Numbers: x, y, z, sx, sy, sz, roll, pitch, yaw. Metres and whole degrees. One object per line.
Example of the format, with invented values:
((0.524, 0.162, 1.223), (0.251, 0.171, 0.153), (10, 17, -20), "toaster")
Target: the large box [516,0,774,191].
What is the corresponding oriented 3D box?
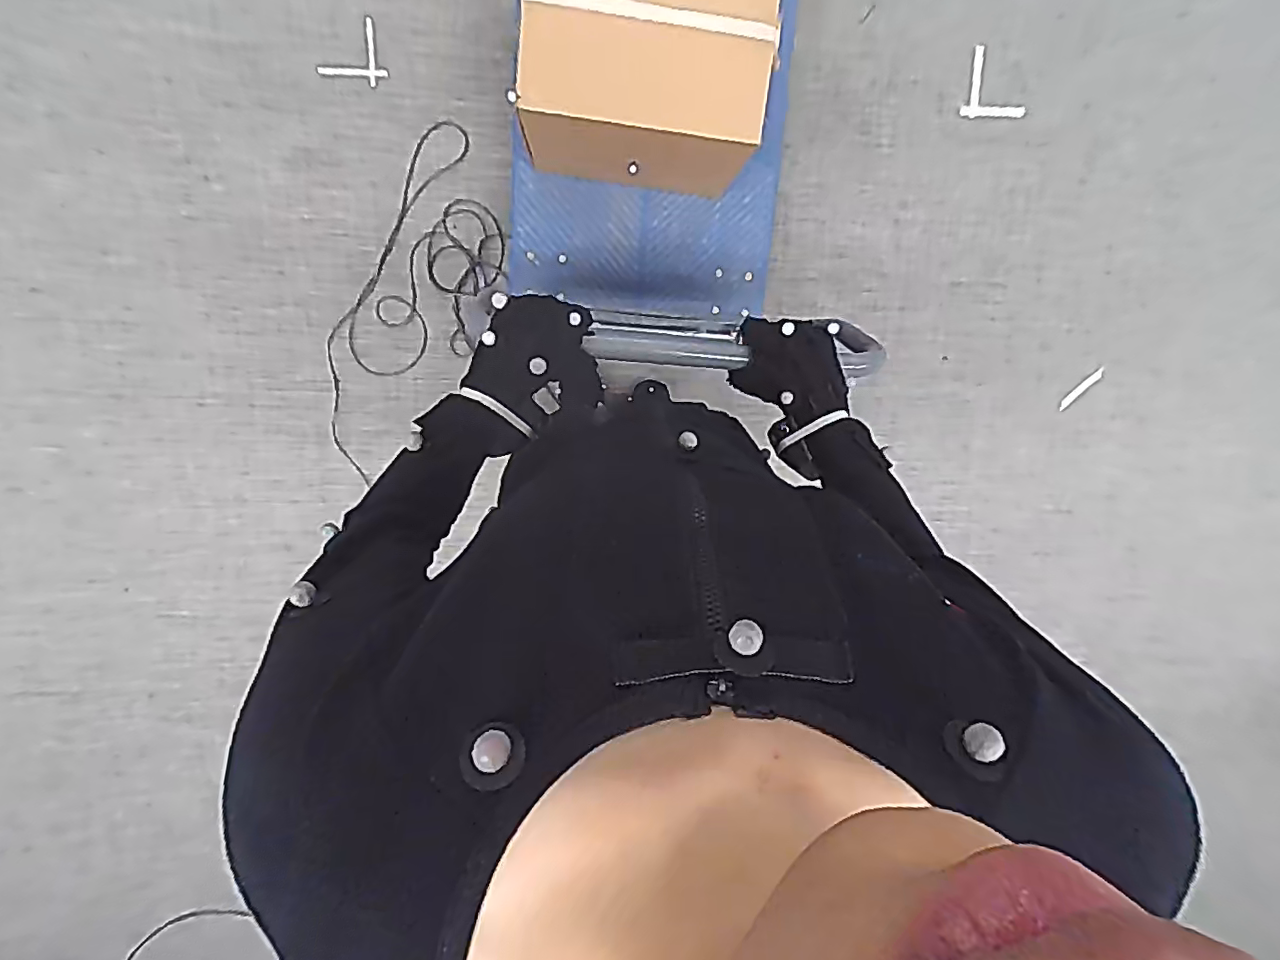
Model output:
((0.003, -0.759, 0.995), (0.408, 0.320, 0.320), (5, 102, -5), "large box")
